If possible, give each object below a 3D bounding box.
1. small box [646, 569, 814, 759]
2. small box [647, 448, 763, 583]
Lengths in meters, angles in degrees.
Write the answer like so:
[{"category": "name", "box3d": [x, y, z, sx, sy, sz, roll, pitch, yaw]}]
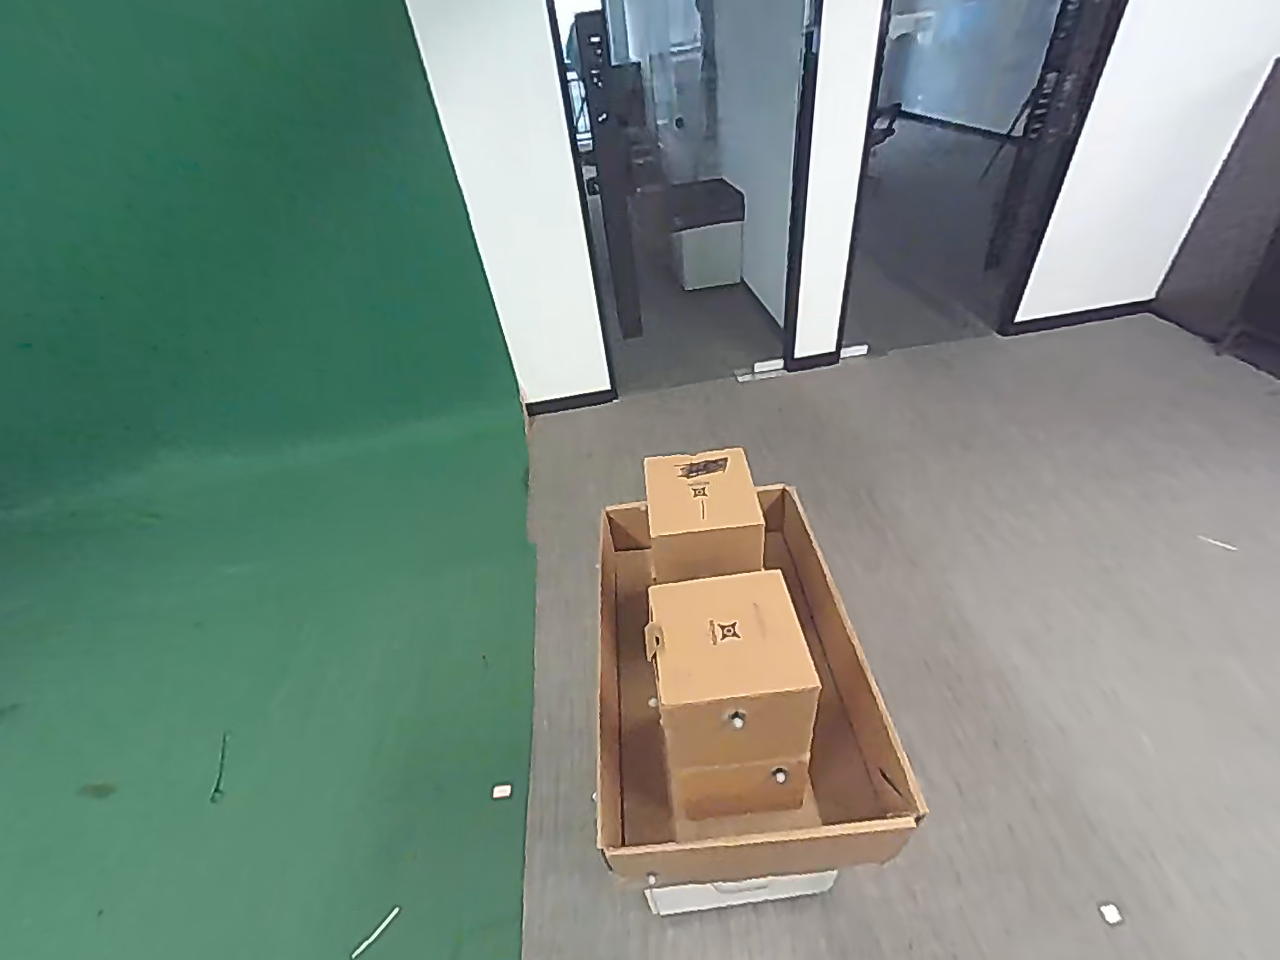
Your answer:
[{"category": "small box", "box3d": [0.108, 0.239, 0.697, 0.179, 0.176, 0.168, -7, 41, 1]}, {"category": "small box", "box3d": [0.099, 0.070, 0.887, 0.168, 0.176, 0.179, -5, 44, 2]}]
